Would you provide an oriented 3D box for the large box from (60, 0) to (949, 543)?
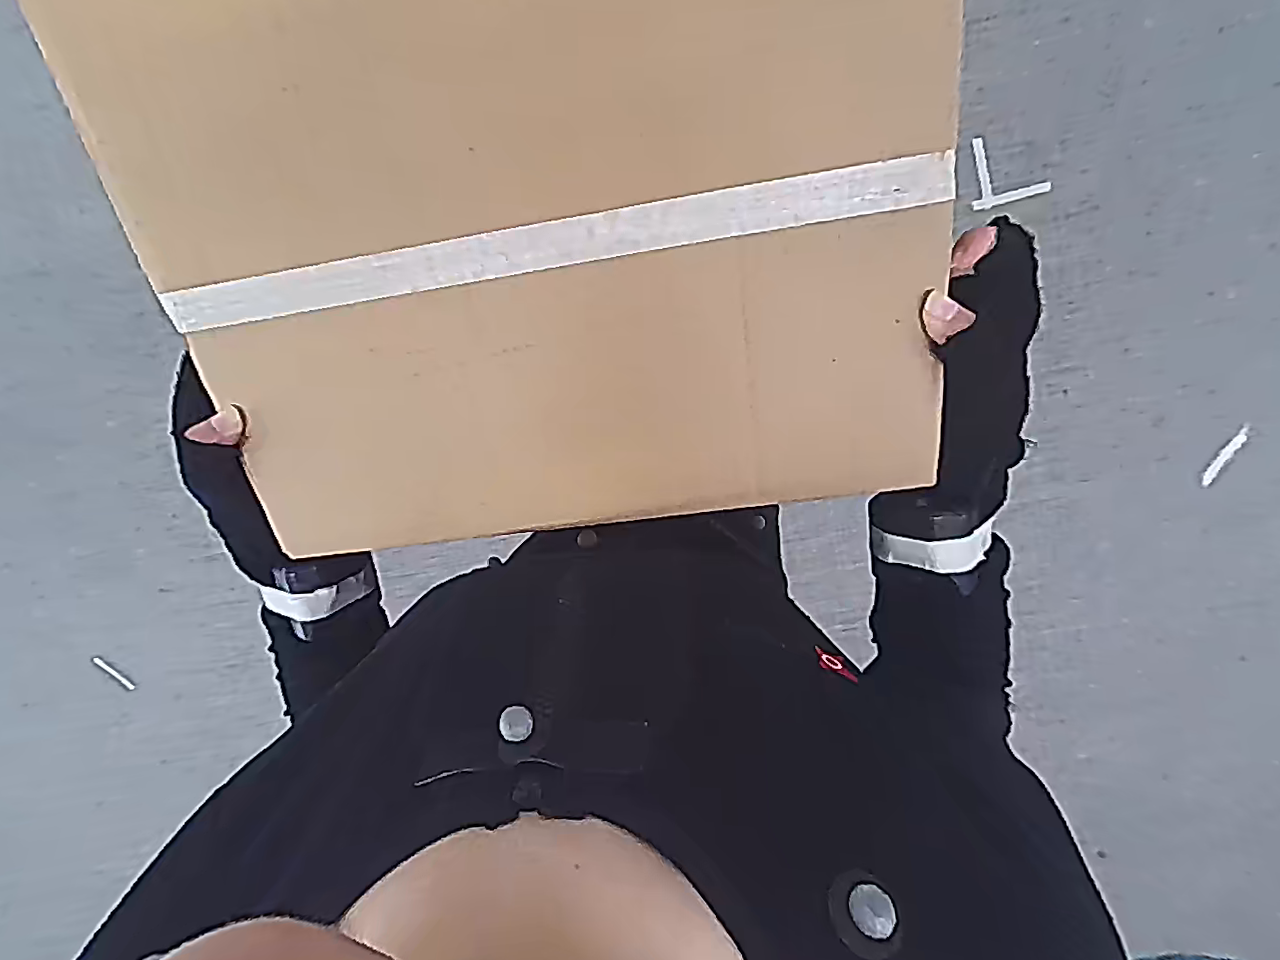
[{"bbox_3d":[-0.045,-0.180,0.418,0.408,0.320,0.320,-7,114,6],"label":"large box"}]
